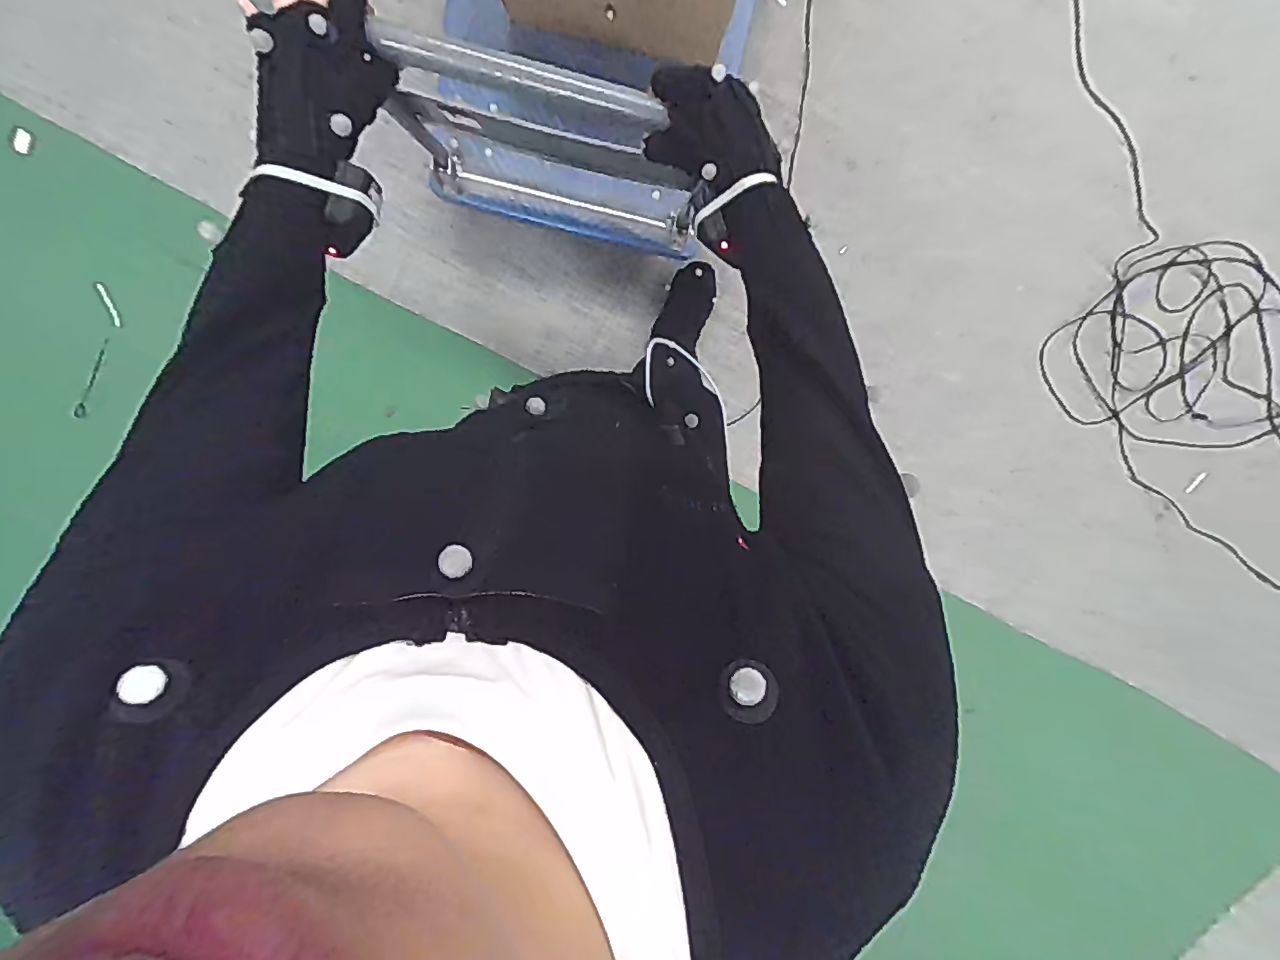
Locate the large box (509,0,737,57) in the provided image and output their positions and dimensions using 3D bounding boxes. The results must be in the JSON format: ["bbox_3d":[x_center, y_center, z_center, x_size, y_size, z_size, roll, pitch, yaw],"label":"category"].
[{"bbox_3d":[-0.018,-0.954,0.867,0.408,0.320,0.320,10,106,-4],"label":"large box"}]
